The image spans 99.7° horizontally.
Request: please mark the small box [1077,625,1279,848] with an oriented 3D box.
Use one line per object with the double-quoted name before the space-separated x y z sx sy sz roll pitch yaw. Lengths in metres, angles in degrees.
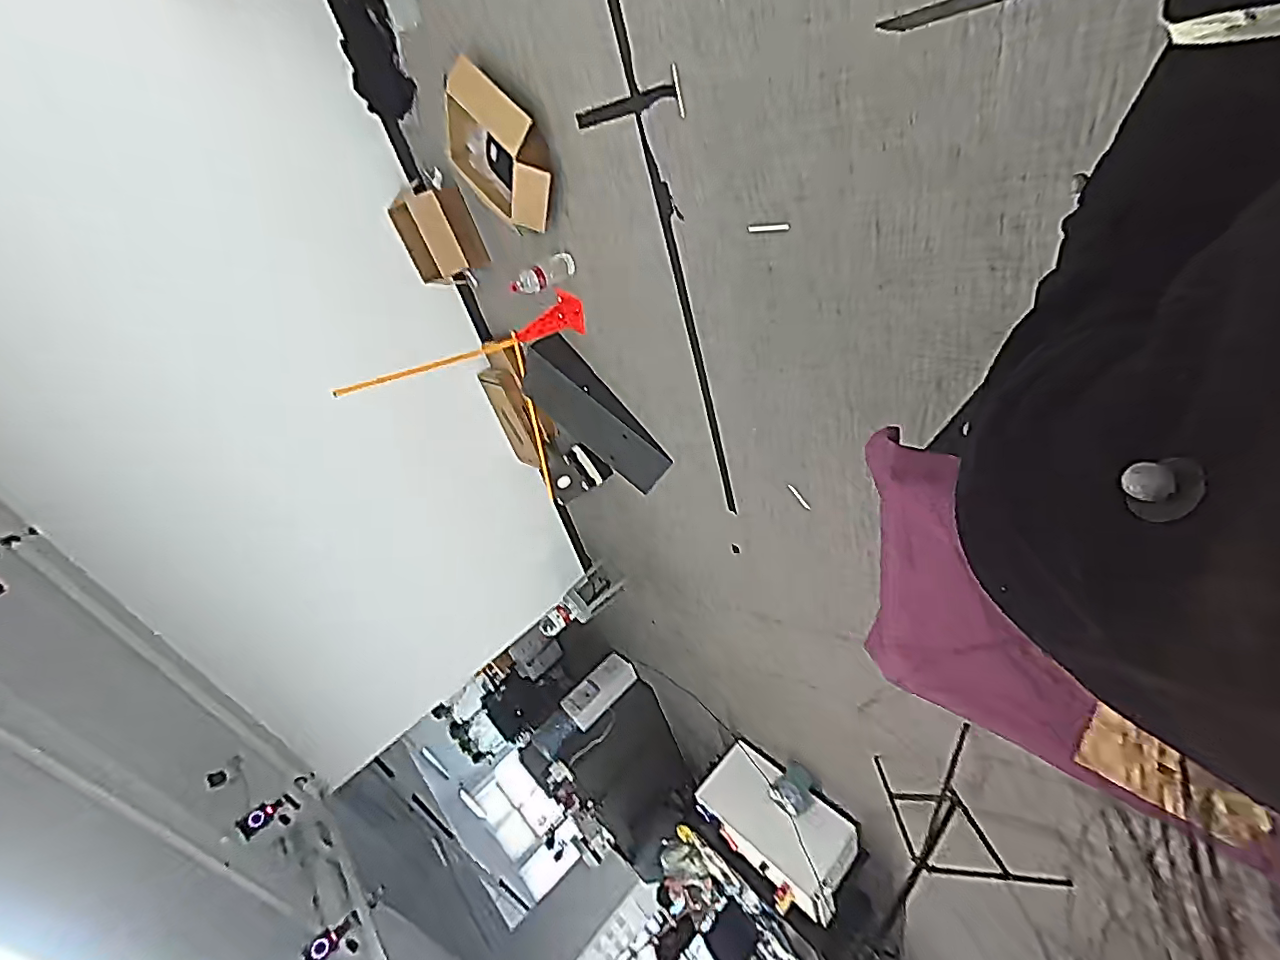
"small box" 0.735 0.329 0.722 0.179 0.176 0.168 25 141 44
